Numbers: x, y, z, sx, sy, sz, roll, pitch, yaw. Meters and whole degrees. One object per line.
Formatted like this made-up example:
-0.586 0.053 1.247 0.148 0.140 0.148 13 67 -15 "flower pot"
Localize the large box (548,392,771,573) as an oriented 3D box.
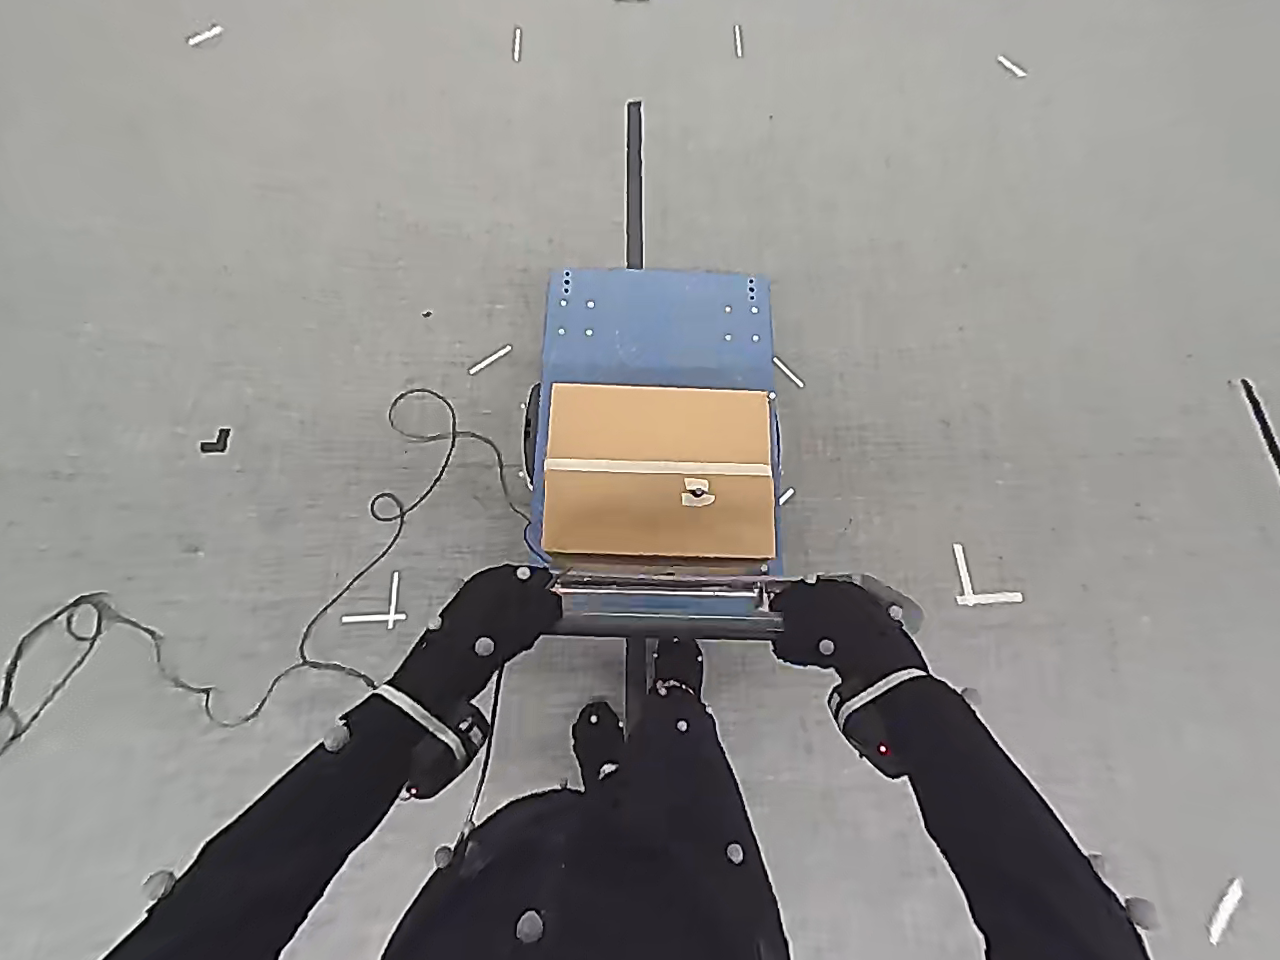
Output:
0.028 0.024 1.130 0.408 0.320 0.320 2 76 -3 "large box"
